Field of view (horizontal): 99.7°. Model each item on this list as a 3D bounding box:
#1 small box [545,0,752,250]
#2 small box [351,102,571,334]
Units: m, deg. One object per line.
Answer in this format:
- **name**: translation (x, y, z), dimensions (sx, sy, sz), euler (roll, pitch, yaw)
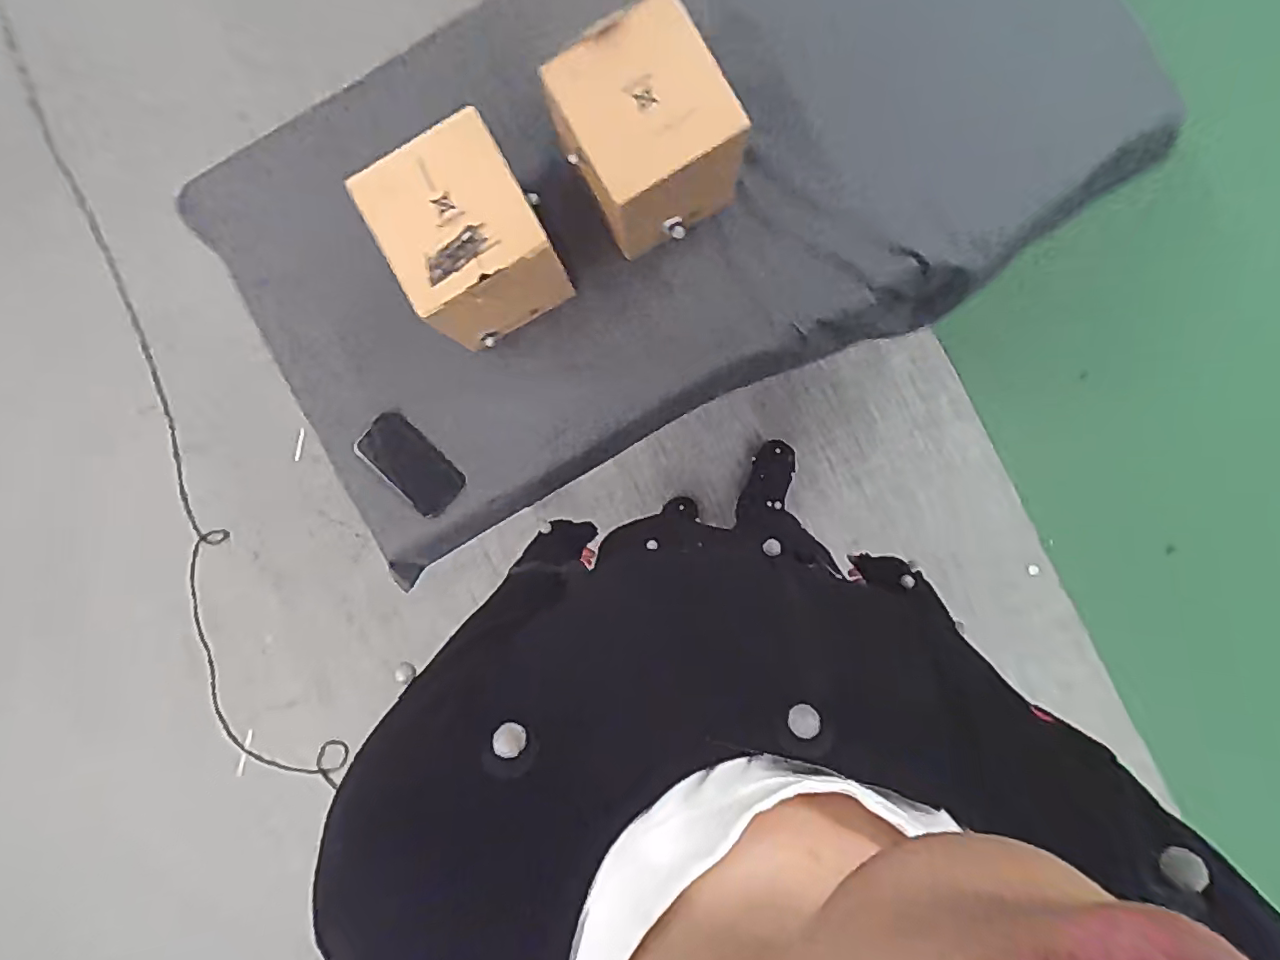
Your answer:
- **small box**: translation (0.011, -0.420, 0.659), dimensions (0.168, 0.176, 0.179), euler (-31, 91, 5)
- **small box**: translation (-0.203, -0.299, 0.668), dimensions (0.168, 0.176, 0.179), euler (-29, 89, 3)
